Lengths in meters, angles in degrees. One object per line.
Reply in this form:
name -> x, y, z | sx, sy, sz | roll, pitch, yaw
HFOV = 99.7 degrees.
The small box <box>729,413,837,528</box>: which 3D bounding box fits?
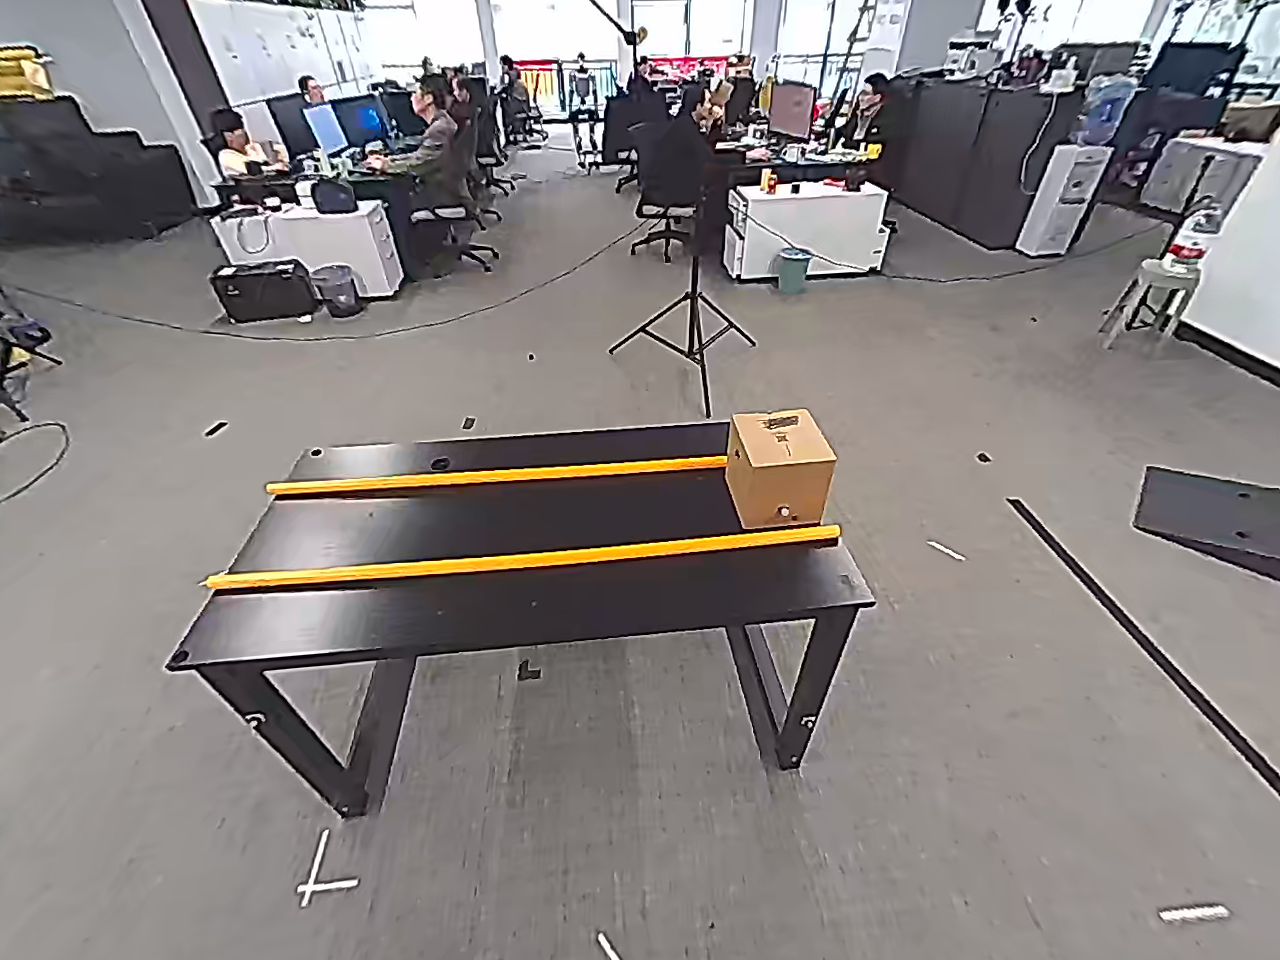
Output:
small box -> 0.287, -0.021, 1.130 | 0.168, 0.176, 0.179 | -5, 40, -3
